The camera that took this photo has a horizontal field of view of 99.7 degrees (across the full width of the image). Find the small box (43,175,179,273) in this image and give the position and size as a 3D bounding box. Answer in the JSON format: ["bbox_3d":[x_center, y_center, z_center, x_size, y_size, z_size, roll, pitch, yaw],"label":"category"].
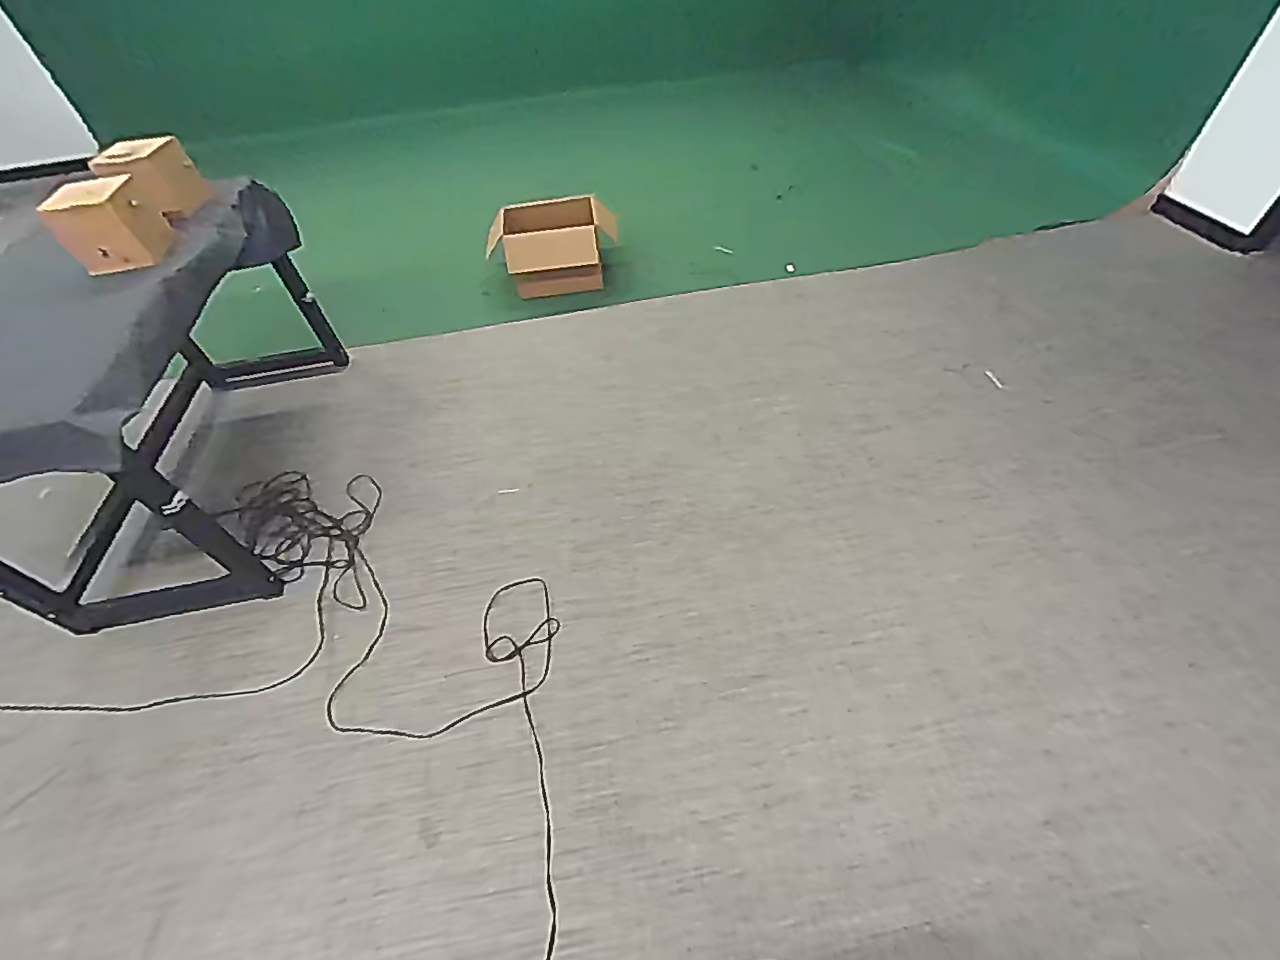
[{"bbox_3d":[-1.370,-0.671,1.421,0.168,0.176,0.179,-12,51,-5],"label":"small box"}]
